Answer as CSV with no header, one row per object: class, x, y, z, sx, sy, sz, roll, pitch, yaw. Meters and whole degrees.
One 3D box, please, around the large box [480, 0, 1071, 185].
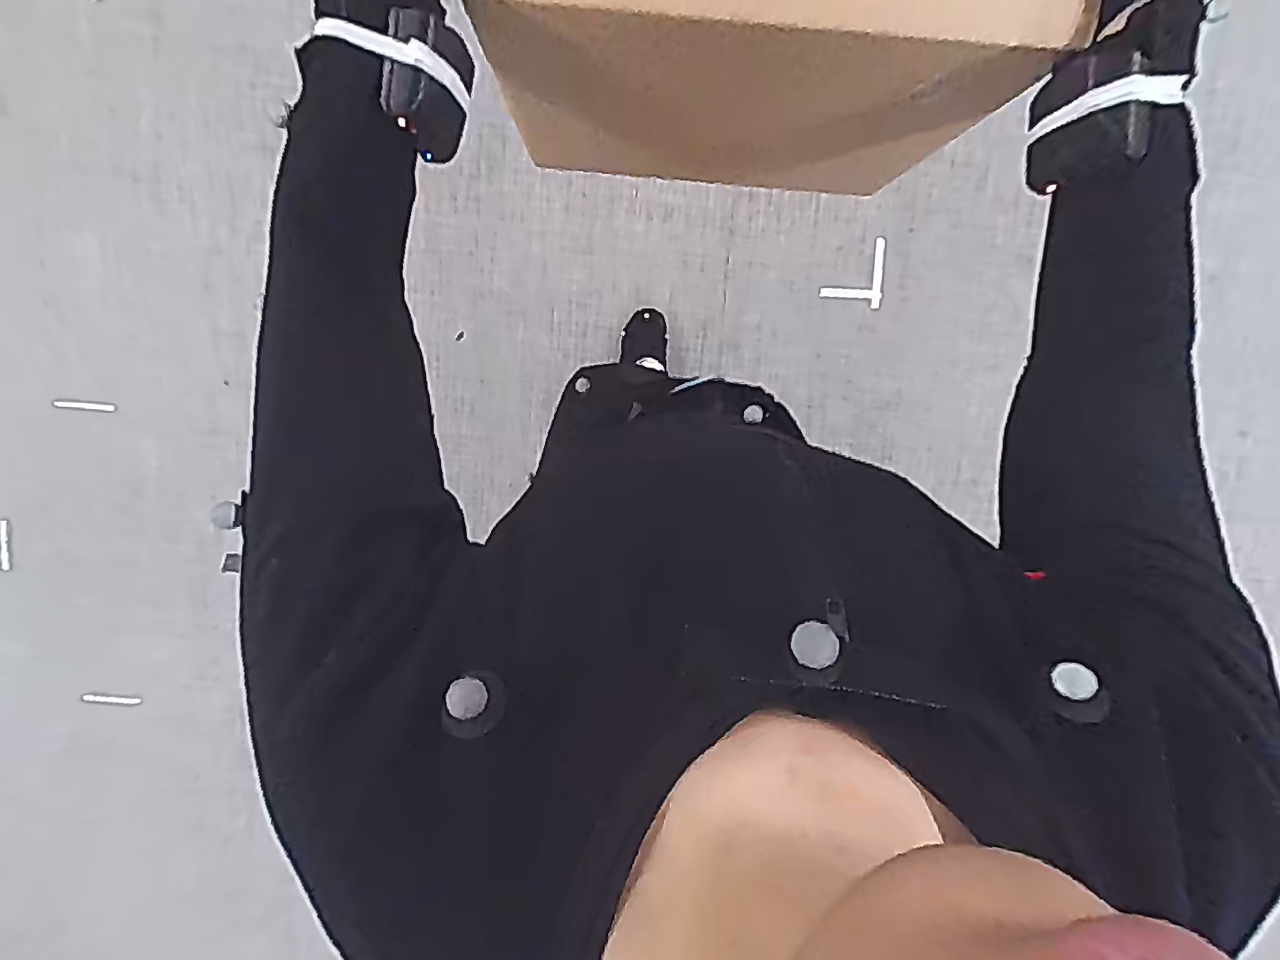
large box,0.089,-0.481,0.469,0.408,0.320,0.320,3,103,-3
